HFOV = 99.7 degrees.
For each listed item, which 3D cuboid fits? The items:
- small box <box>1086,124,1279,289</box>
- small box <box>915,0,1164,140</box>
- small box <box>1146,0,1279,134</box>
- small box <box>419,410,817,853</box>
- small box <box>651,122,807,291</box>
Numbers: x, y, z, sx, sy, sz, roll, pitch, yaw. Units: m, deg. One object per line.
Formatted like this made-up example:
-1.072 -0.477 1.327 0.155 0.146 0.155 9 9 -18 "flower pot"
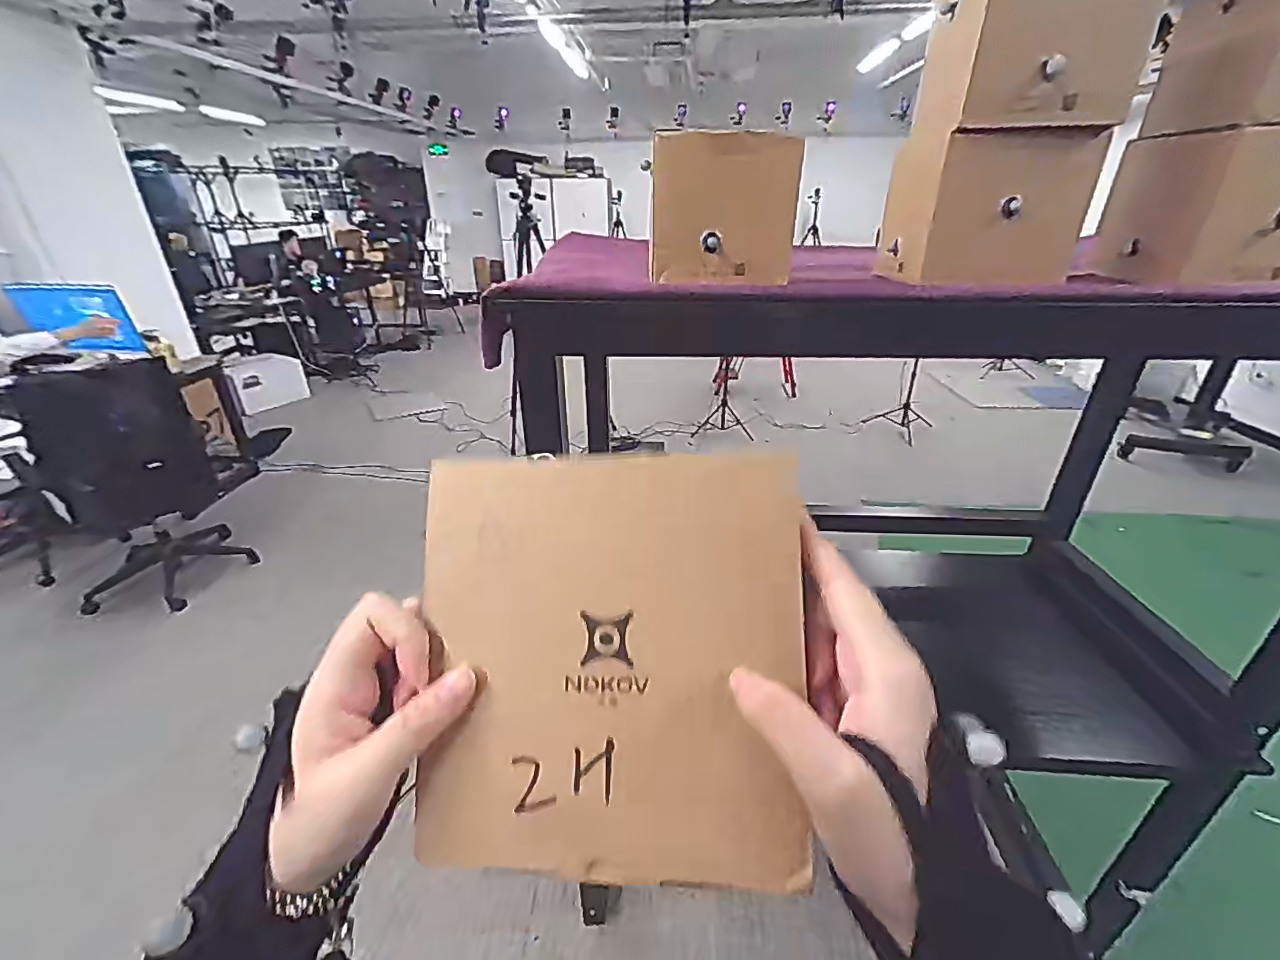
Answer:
0.716 -0.335 0.670 0.168 0.176 0.179 2 28 5 "small box"
0.430 -0.485 0.604 0.168 0.176 0.179 3 28 7 "small box"
0.723 -0.479 0.592 0.168 0.176 0.179 2 29 7 "small box"
-0.001 0.066 0.305 0.168 0.179 0.176 -1 -6 9 "small box"
0.099 -0.344 0.694 0.168 0.176 0.179 1 26 0 "small box"
